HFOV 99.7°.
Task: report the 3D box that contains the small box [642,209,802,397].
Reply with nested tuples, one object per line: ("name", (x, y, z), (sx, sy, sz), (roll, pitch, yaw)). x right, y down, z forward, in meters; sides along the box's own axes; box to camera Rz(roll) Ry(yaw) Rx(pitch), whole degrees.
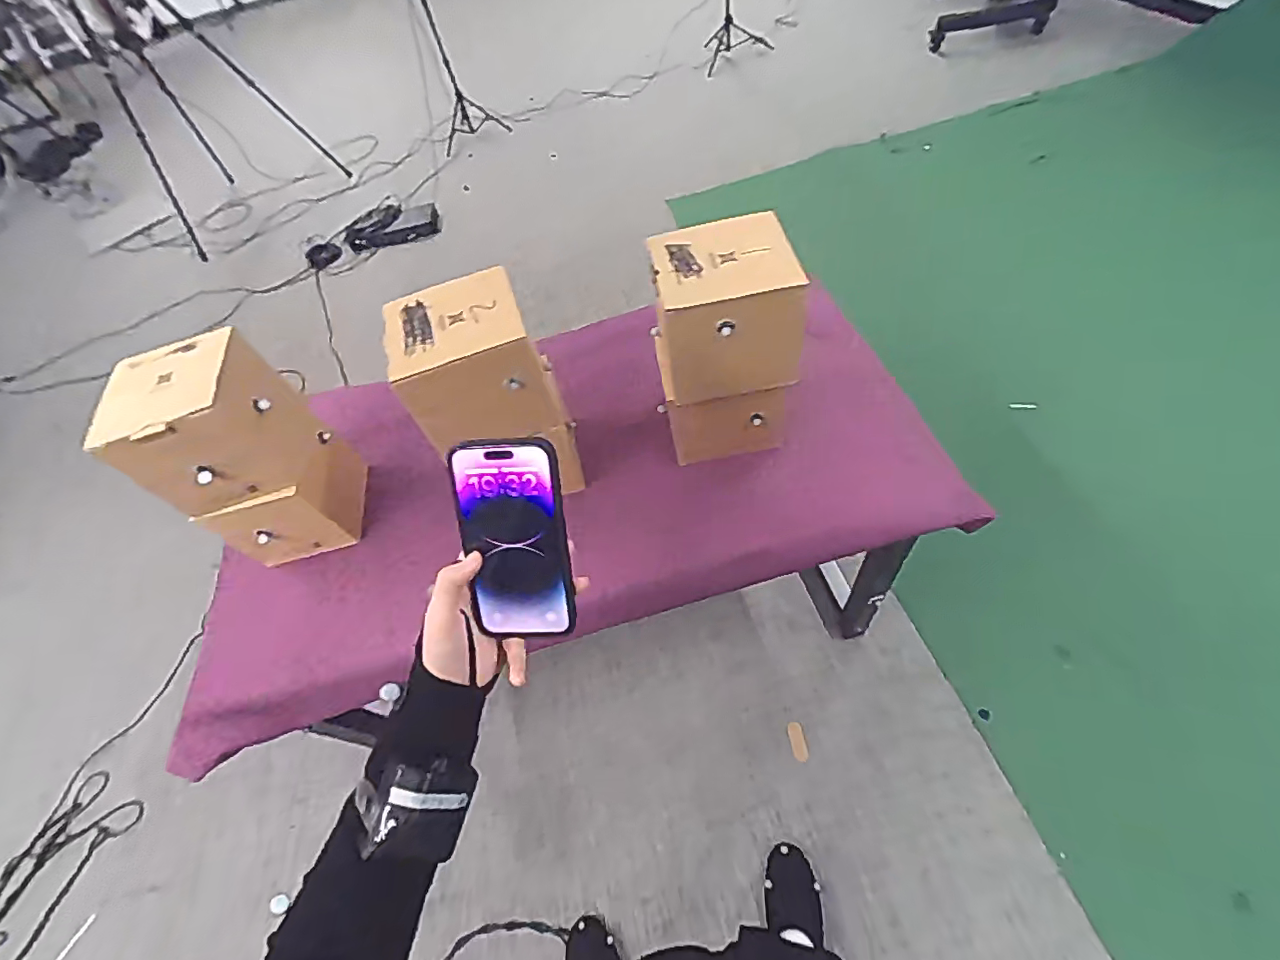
("small box", (0.110, -0.235, 0.742), (0.179, 0.176, 0.168), (-11, 54, 3))

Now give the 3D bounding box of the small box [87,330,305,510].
("small box", (-0.614, -0.077, 0.778), (0.168, 0.176, 0.179), (-19, 55, -3))

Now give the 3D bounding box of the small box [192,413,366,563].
("small box", (-0.585, 0.022, 0.906), (0.168, 0.176, 0.179), (-16, 54, 1))

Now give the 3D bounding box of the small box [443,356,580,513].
("small box", (-0.206, -0.070, 0.892), (0.179, 0.176, 0.168), (-16, 54, 0))

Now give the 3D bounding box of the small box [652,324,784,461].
("small box", (0.125, -0.153, 0.884), (0.179, 0.176, 0.168), (-11, 54, 4))
